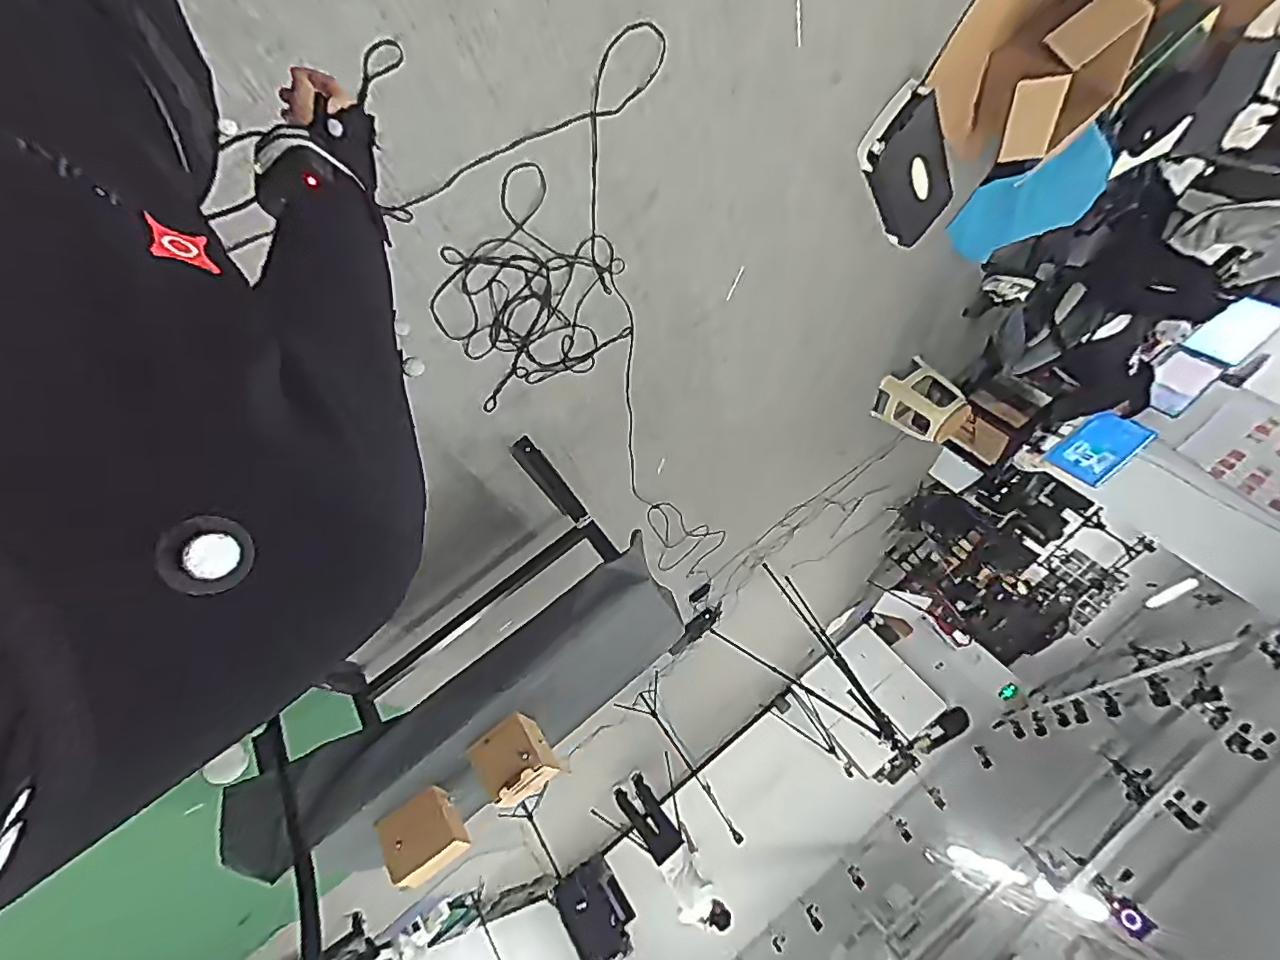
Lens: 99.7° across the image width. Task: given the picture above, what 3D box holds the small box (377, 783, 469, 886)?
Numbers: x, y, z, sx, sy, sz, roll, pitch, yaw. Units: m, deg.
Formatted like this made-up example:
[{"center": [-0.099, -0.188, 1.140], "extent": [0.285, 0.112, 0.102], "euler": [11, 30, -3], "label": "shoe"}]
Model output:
[{"center": [-0.613, 0.994, 1.519], "extent": [0.179, 0.176, 0.168], "euler": [-31, 148, -20], "label": "small box"}]
